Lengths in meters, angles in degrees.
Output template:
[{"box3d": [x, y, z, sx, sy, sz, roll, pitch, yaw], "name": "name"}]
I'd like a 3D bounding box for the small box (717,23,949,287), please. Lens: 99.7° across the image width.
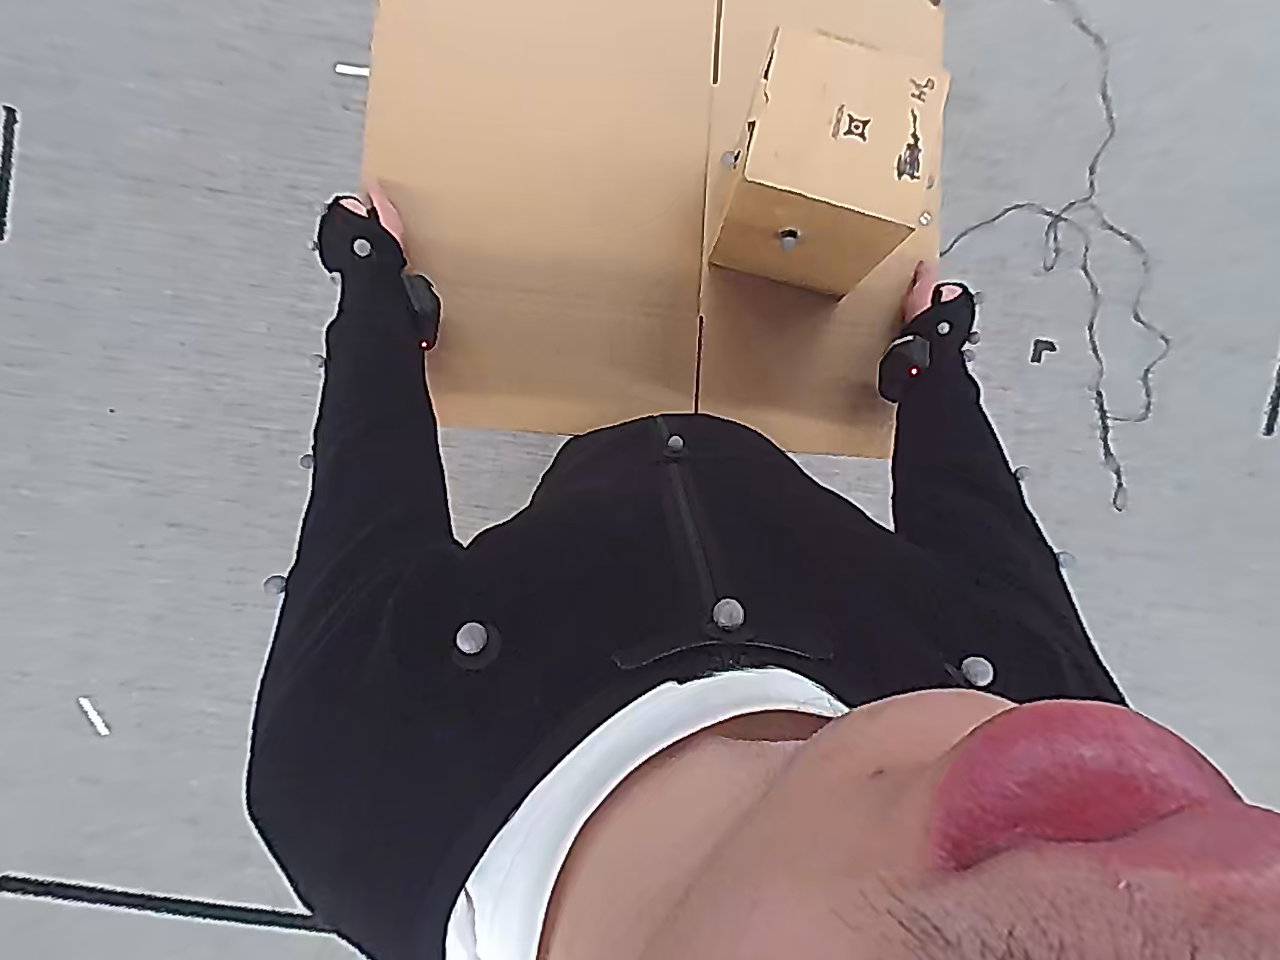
[{"box3d": [0.194, -0.337, 0.597, 0.179, 0.176, 0.168, 14, 86, -2], "name": "small box"}]
